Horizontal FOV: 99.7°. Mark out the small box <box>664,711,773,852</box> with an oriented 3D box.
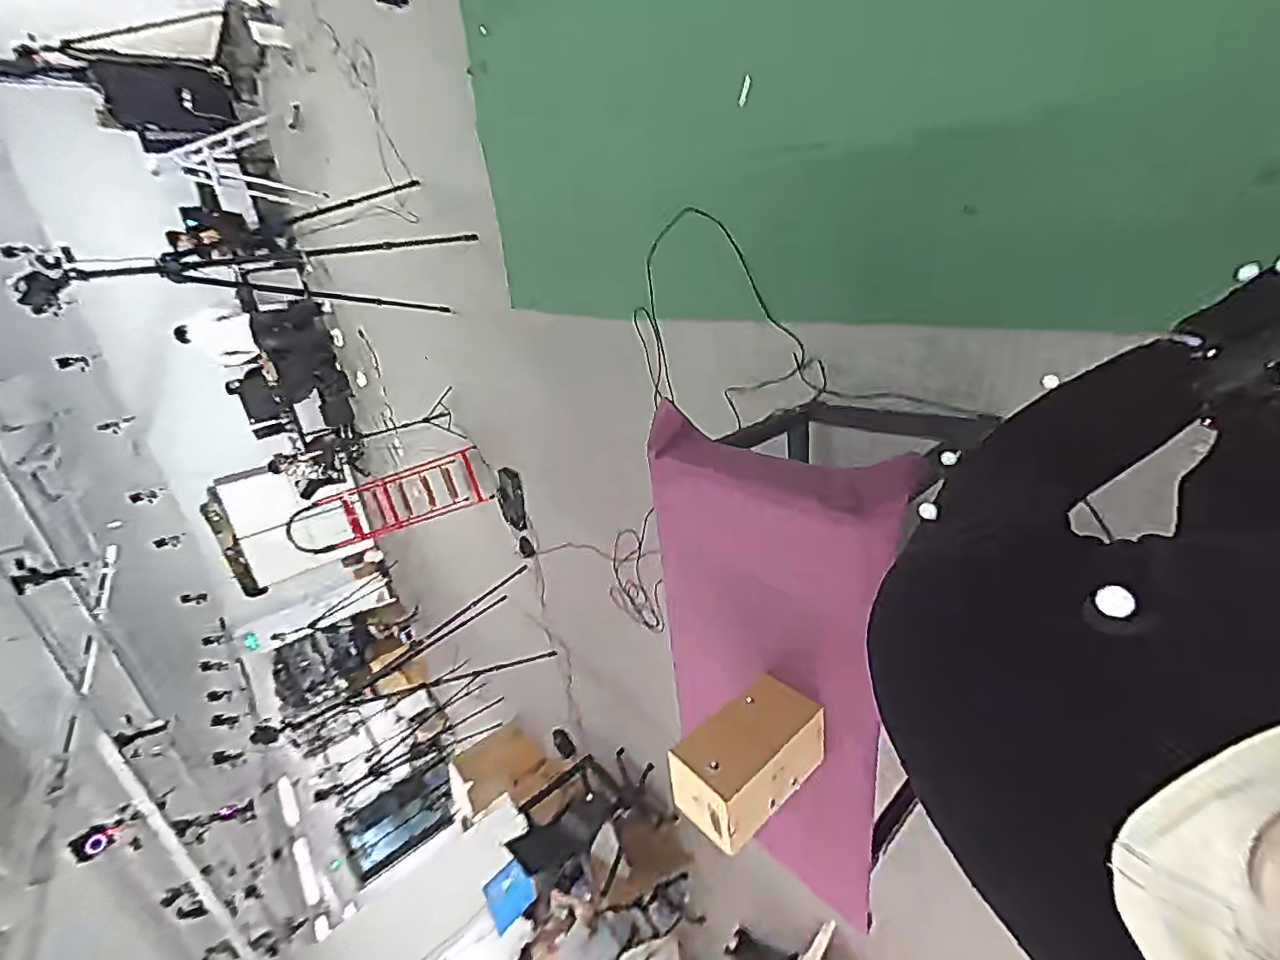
[{"bbox_3d":[0.178,0.649,1.190,0.179,0.176,0.168,20,124,48],"label":"small box"}]
